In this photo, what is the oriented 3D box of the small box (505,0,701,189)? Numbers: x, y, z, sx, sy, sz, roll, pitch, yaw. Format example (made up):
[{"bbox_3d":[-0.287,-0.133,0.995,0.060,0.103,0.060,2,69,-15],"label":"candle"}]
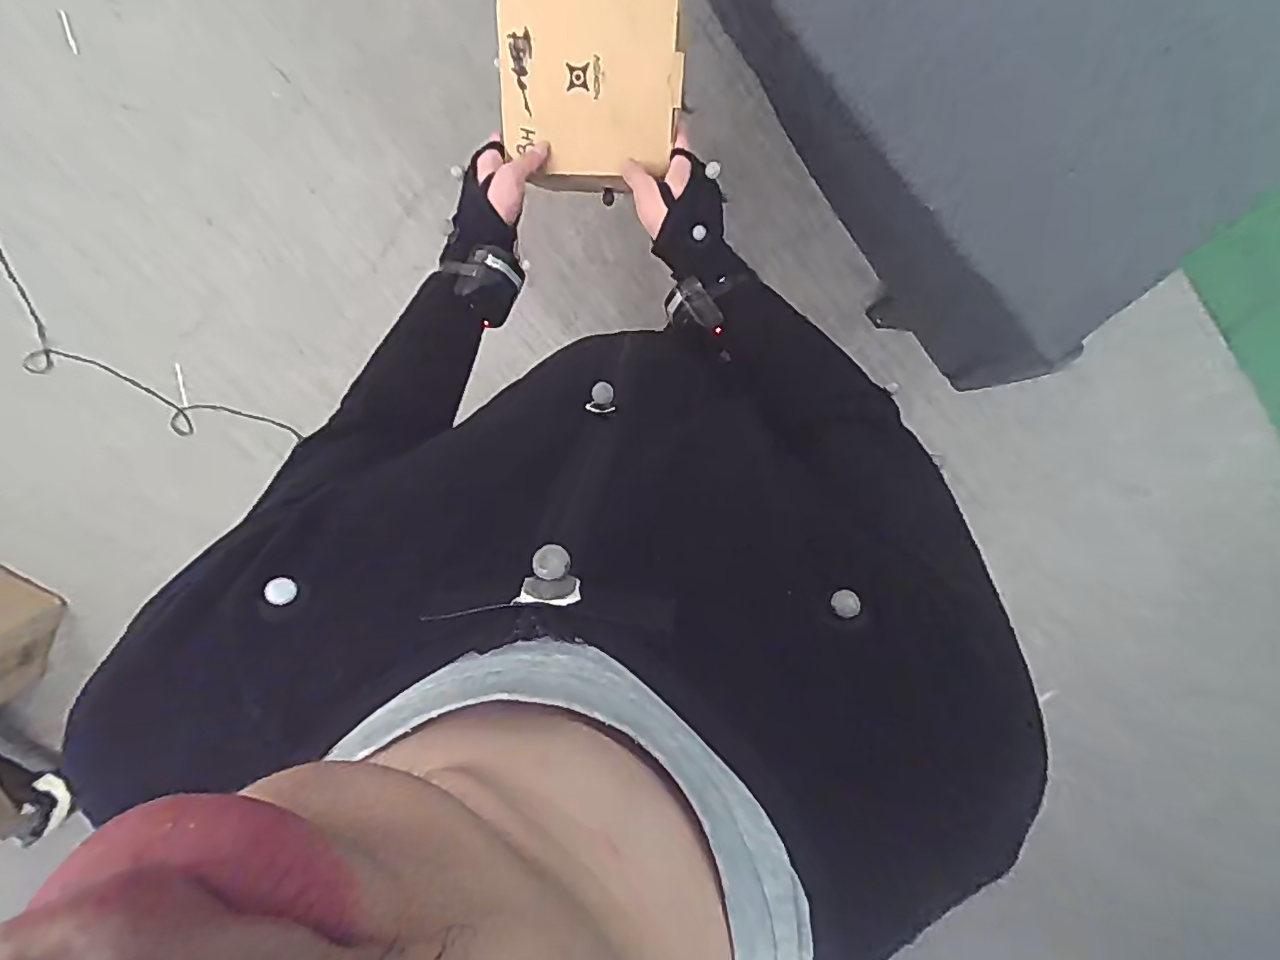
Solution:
[{"bbox_3d":[-0.032,-0.412,0.571,0.179,0.176,0.168,3,112,3],"label":"small box"}]

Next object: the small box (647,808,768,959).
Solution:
[{"bbox_3d":[0.131,0.819,1.104,0.179,0.176,0.168,-40,101,14],"label":"small box"}]
